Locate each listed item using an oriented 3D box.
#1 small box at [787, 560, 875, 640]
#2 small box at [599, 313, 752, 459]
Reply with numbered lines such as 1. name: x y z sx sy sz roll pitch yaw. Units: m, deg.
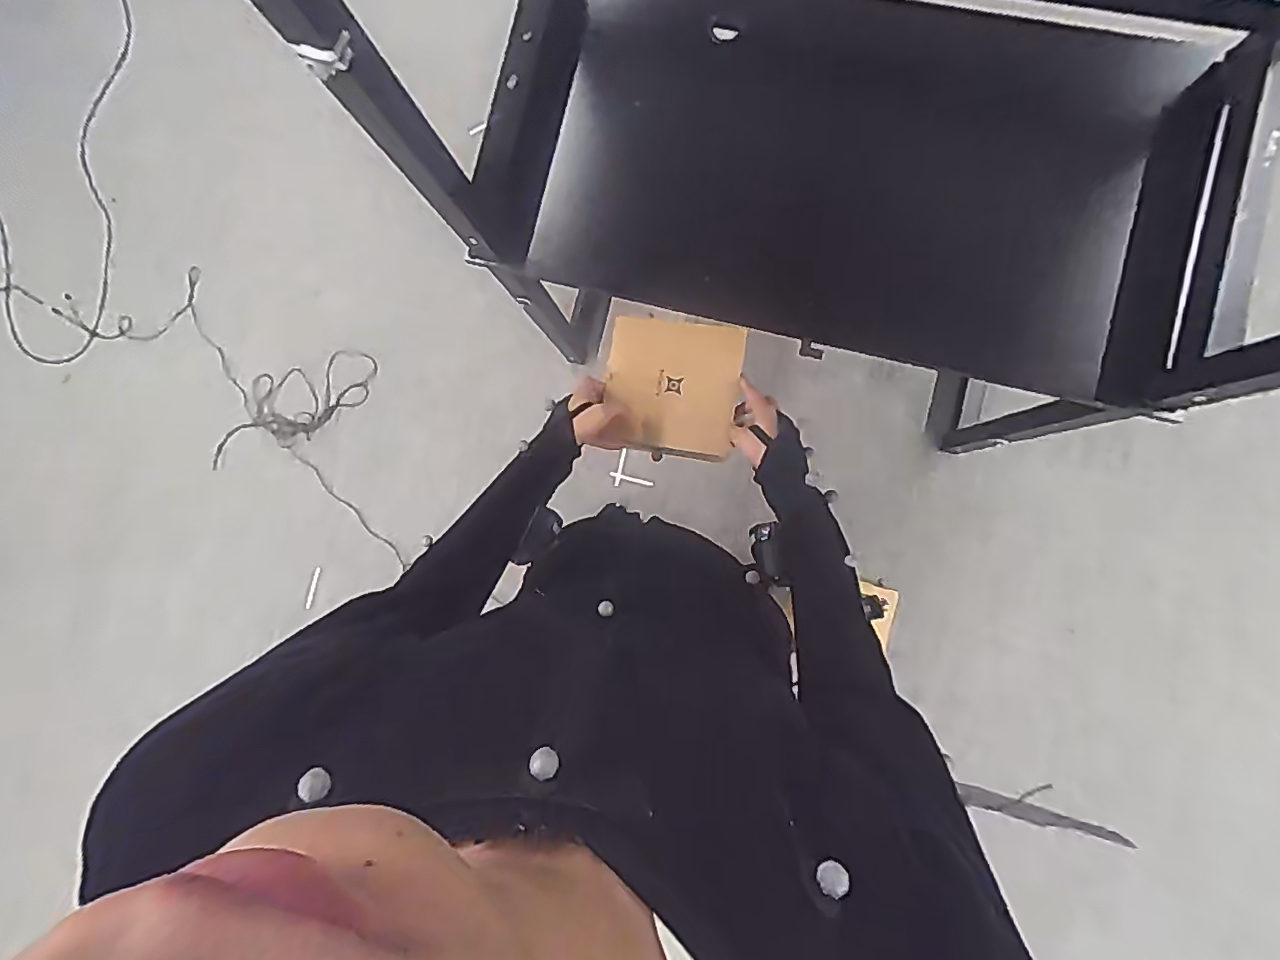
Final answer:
1. small box: 0.519 0.324 1.493 0.179 0.176 0.168 12 88 7
2. small box: 0.057 -0.123 0.767 0.179 0.176 0.168 9 91 10
